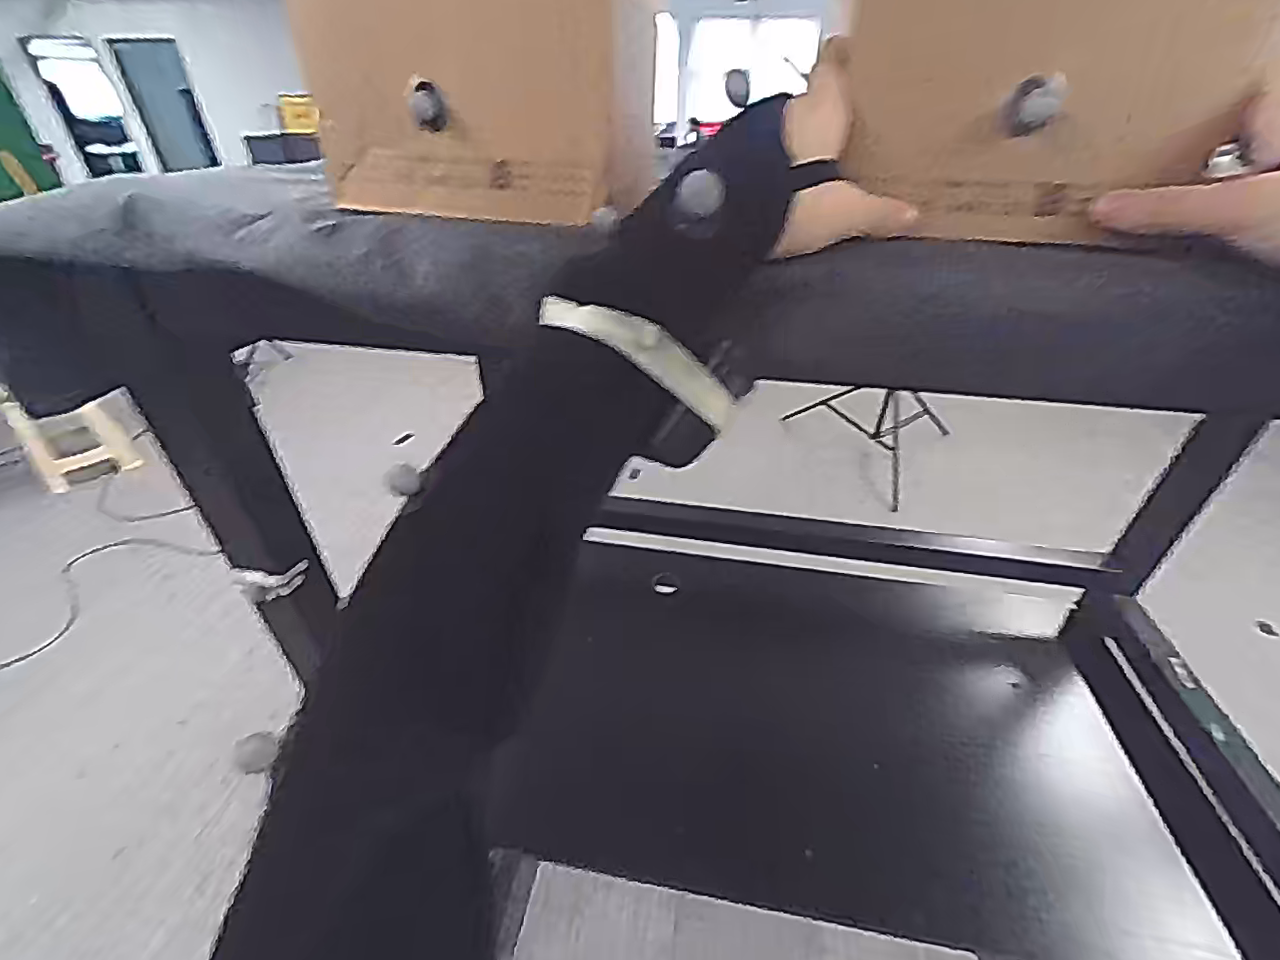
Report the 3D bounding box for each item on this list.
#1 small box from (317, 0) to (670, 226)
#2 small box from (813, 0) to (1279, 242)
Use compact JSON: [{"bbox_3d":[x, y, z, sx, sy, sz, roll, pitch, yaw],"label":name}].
[{"bbox_3d":[-0.075,-0.265,0.330,0.168,0.176,0.179,7,34,7],"label":"small box"},{"bbox_3d":[0.195,-0.236,0.291,0.168,0.176,0.179,7,34,9],"label":"small box"}]
